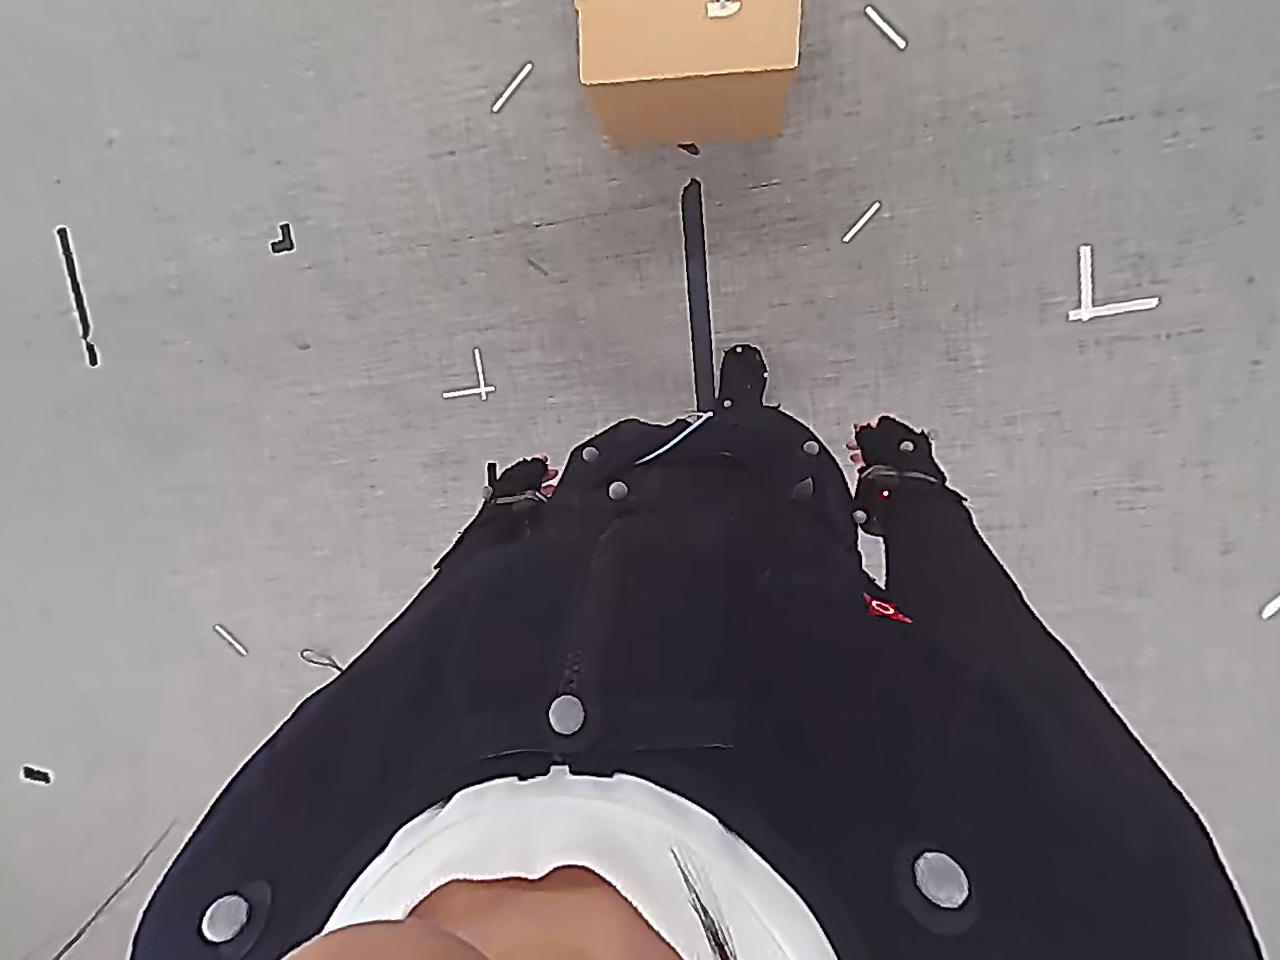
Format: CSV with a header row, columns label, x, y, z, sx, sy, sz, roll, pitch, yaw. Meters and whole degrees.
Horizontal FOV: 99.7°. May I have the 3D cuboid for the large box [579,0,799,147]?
label,x,y,z,sx,sy,sz,roll,pitch,yaw
large box,0.102,-0.922,1.111,0.408,0.320,0.320,2,102,8
